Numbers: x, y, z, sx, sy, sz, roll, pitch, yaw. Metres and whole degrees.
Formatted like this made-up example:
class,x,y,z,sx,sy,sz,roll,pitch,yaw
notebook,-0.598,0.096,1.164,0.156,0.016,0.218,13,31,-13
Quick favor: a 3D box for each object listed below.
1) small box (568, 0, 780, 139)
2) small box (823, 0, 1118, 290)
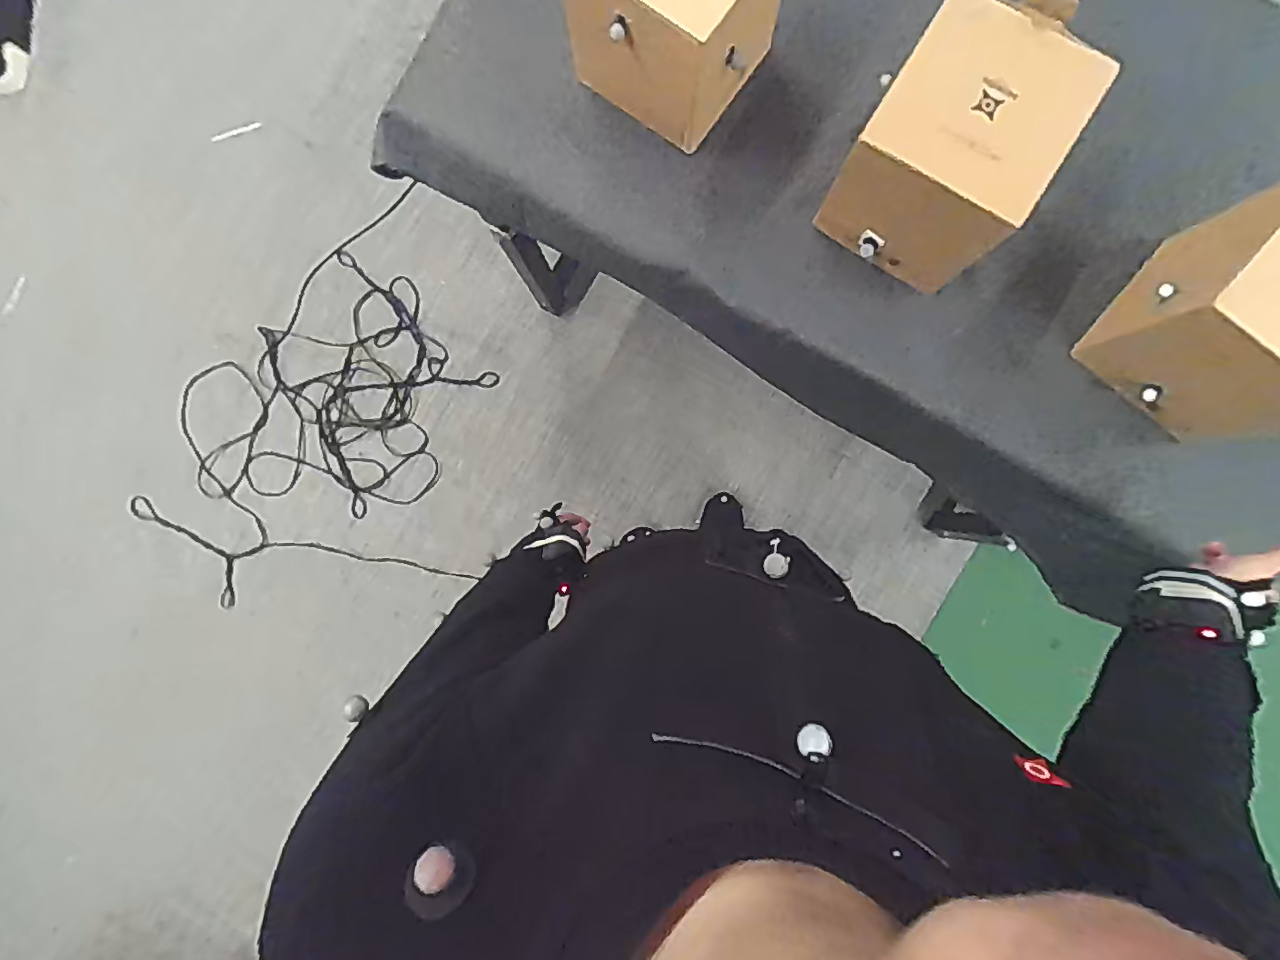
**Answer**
class,x,y,z,sx,sy,sz,roll,pitch,yaw
small box,0.041,-0.512,0.577,0.179,0.176,0.168,36,89,3
small box,0.318,-0.337,0.564,0.168,0.176,0.179,31,90,4
